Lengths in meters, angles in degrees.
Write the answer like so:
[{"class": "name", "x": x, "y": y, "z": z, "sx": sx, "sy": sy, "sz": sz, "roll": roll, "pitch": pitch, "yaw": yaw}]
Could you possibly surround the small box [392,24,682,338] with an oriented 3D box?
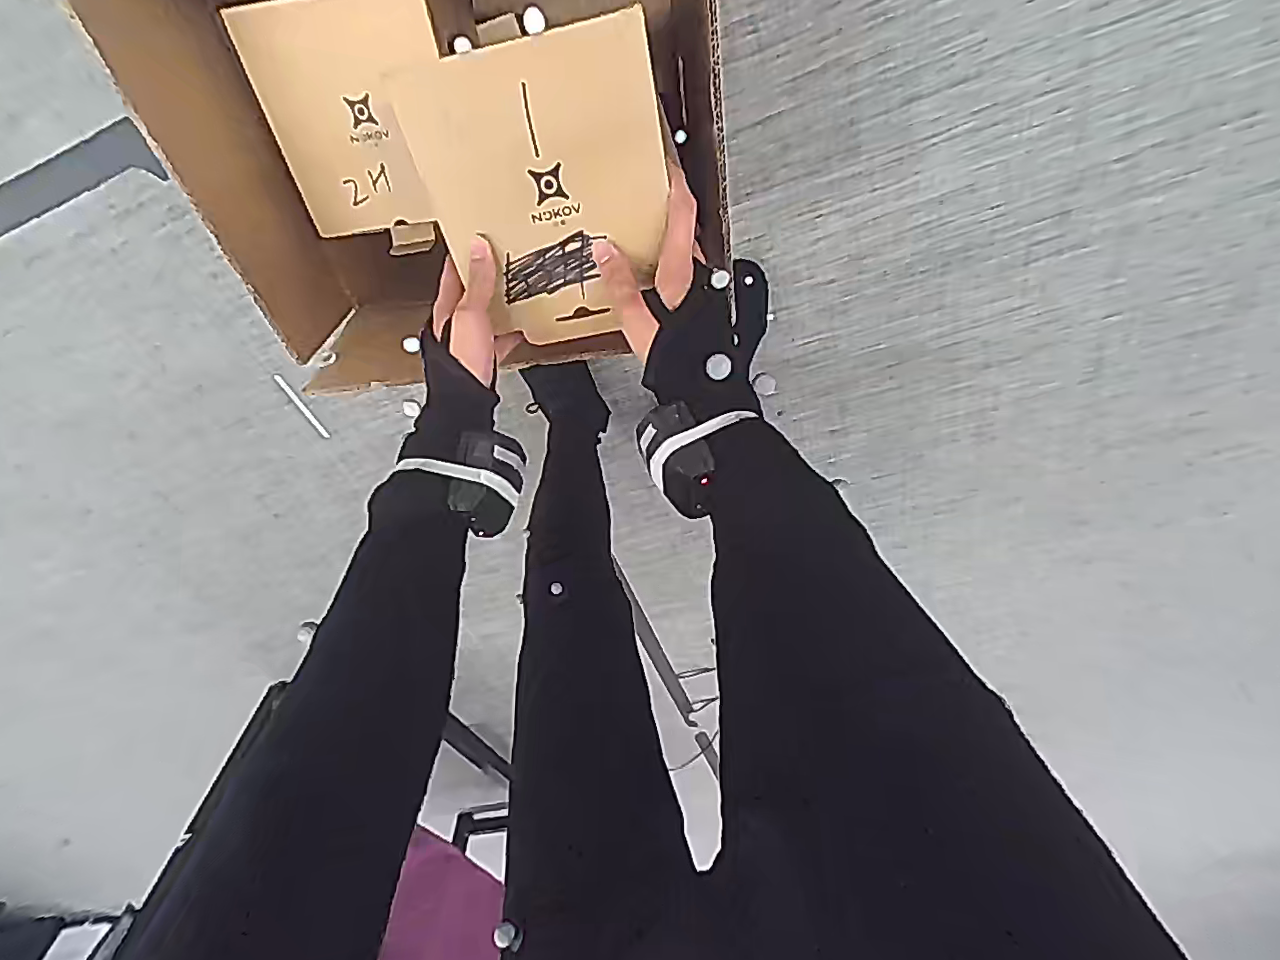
[{"class": "small box", "x": -0.062, "y": -0.243, "z": 0.442, "sx": 0.168, "sy": 0.176, "sz": 0.179, "roll": -10, "pitch": 128, "yaw": 5}]
